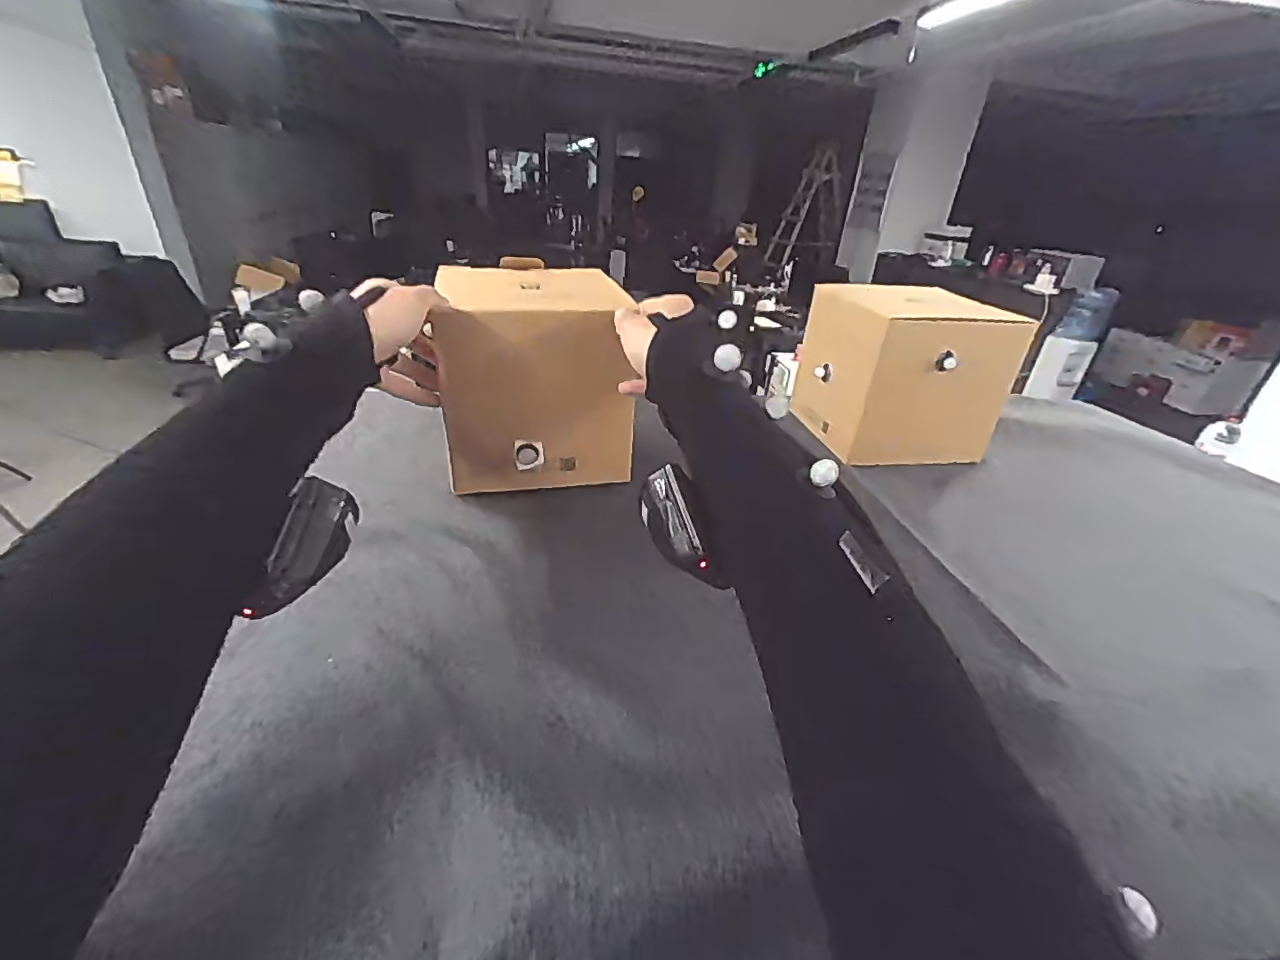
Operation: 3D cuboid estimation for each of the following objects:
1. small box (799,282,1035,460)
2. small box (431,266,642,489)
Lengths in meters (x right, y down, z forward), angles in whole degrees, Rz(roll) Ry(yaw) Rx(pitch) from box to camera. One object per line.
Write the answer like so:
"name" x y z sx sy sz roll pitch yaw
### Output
"small box" 0.305 -0.132 0.645 0.179 0.176 0.168 -1 31 -10
"small box" -0.101 -0.107 0.529 0.168 0.176 0.179 -5 31 -14
